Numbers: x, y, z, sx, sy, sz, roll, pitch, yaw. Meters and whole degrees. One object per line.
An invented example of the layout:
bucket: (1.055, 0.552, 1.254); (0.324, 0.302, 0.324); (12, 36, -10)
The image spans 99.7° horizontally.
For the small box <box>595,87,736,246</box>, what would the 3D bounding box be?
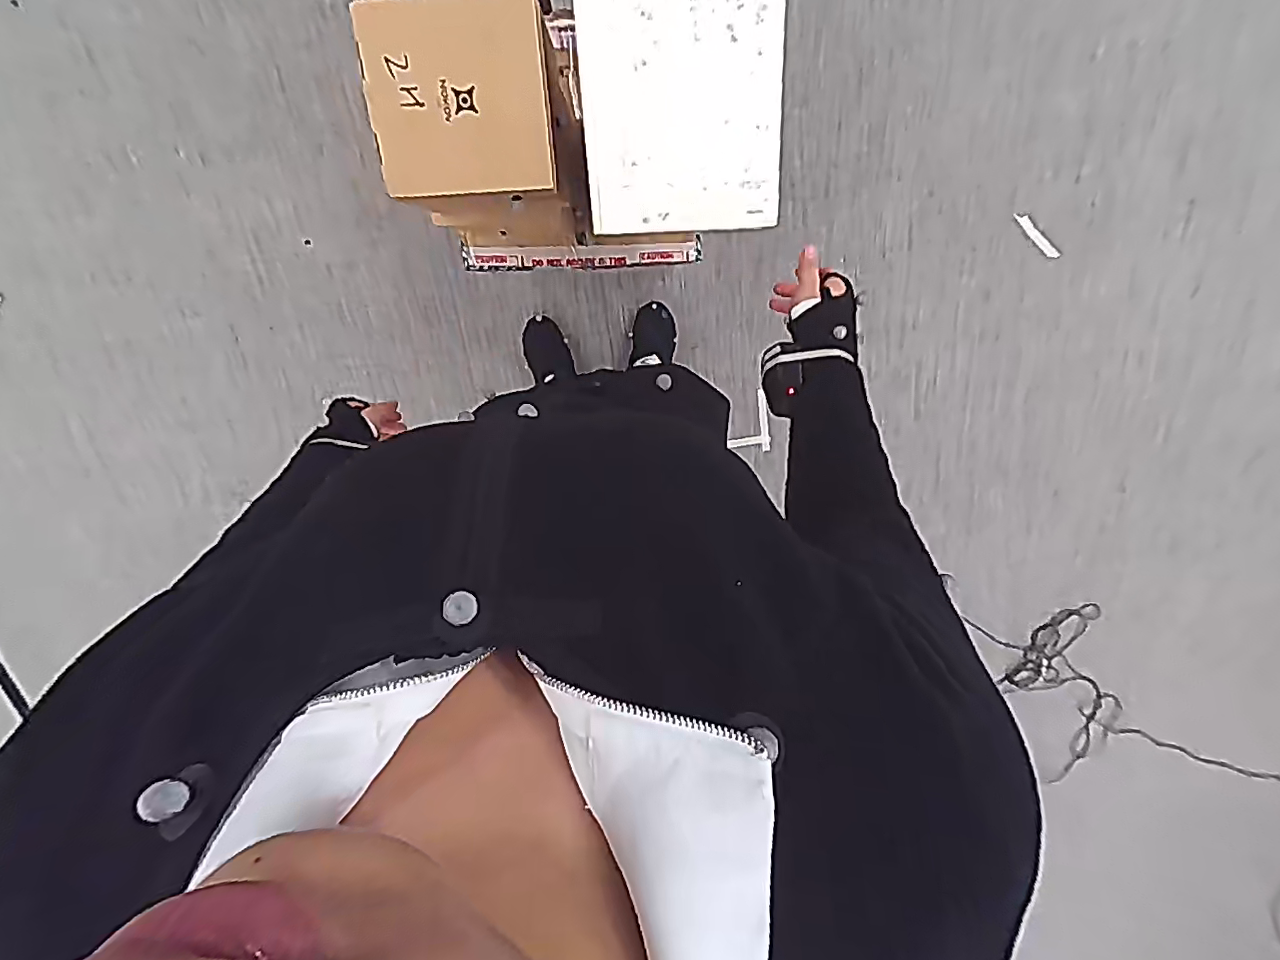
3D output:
small box: (0.032, -0.441, 0.785); (0.179, 0.176, 0.168); (-8, 111, 0)

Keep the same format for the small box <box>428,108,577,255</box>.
small box: (-0.184, -0.421, 0.786); (0.179, 0.176, 0.168); (1, 111, 0)
